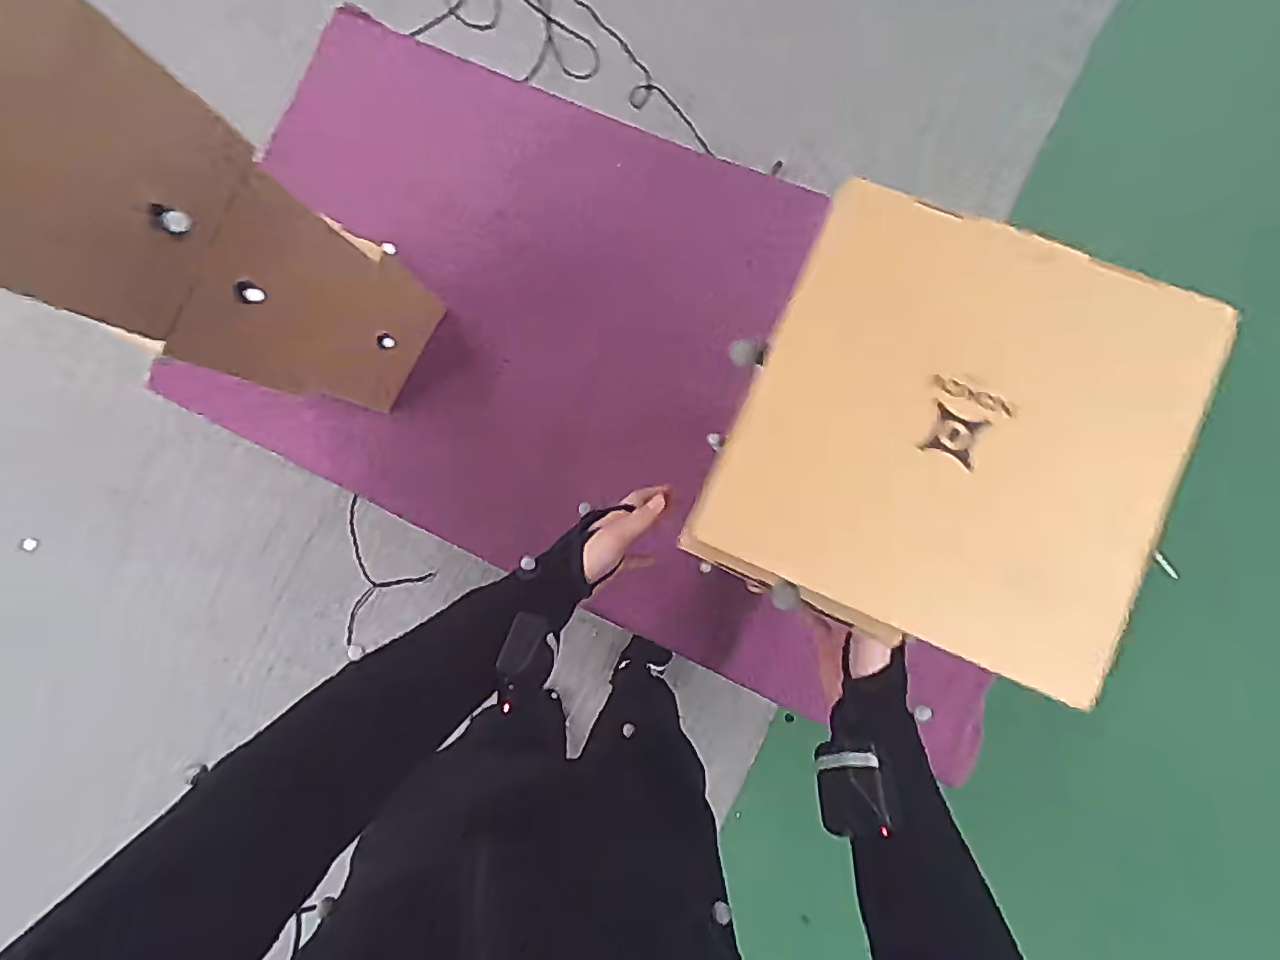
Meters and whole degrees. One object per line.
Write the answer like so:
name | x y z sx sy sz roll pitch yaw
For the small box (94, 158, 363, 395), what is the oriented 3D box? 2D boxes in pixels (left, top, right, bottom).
small box | -0.410 -0.202 0.522 0.168 0.176 0.179 26 88 6

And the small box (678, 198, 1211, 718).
small box | 0.133 -0.007 0.305 0.168 0.176 0.179 24 85 7

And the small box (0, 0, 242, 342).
small box | -0.419 -0.222 0.359 0.168 0.176 0.179 25 88 6
